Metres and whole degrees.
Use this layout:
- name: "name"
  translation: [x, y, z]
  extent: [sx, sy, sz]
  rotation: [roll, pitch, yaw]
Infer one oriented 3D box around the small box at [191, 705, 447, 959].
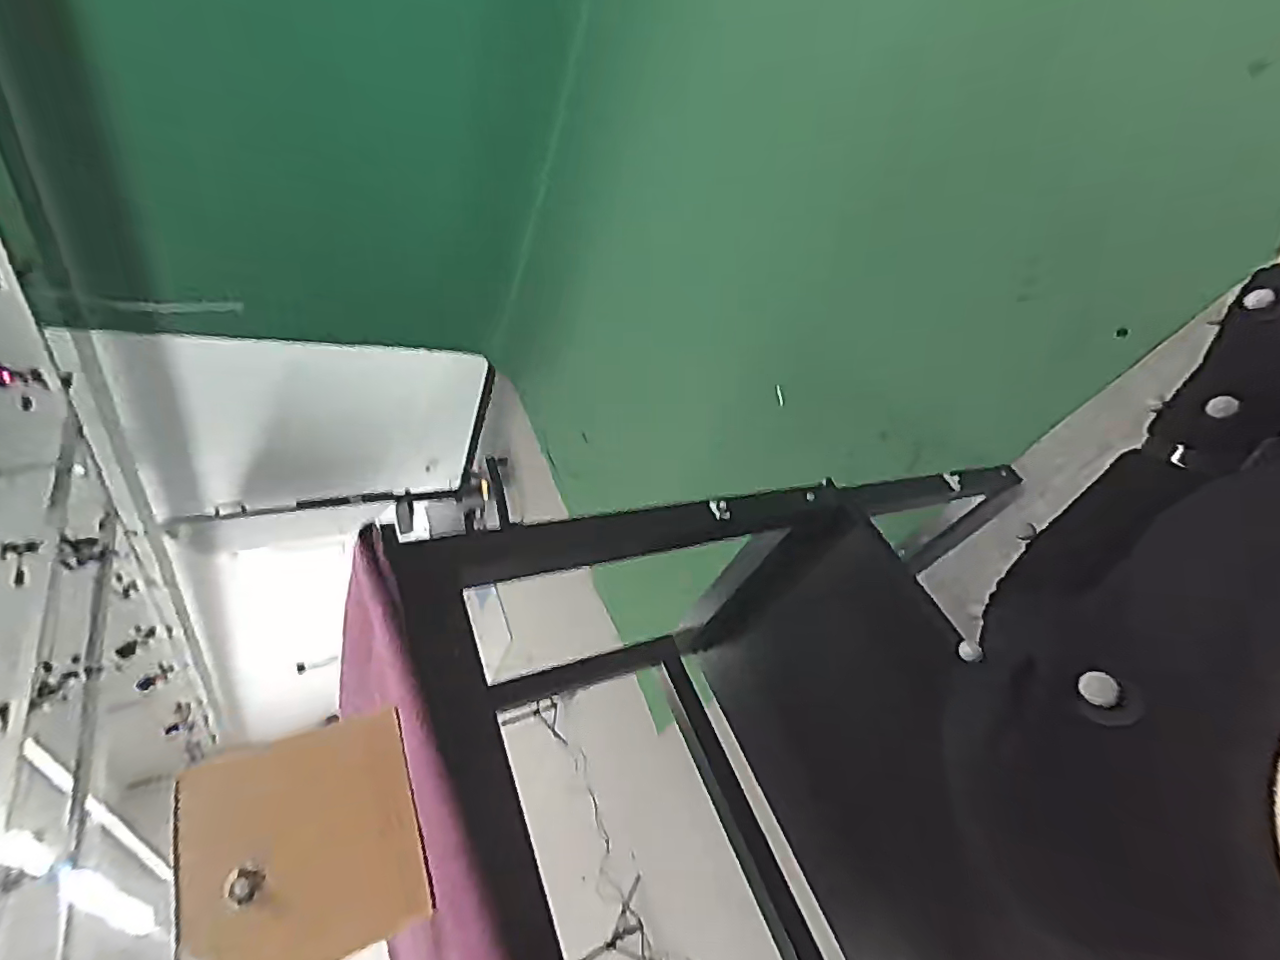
- name: "small box"
  translation: [-0.288, 0.339, 0.502]
  extent: [0.168, 0.176, 0.179]
  rotation: [-55, 51, 47]
